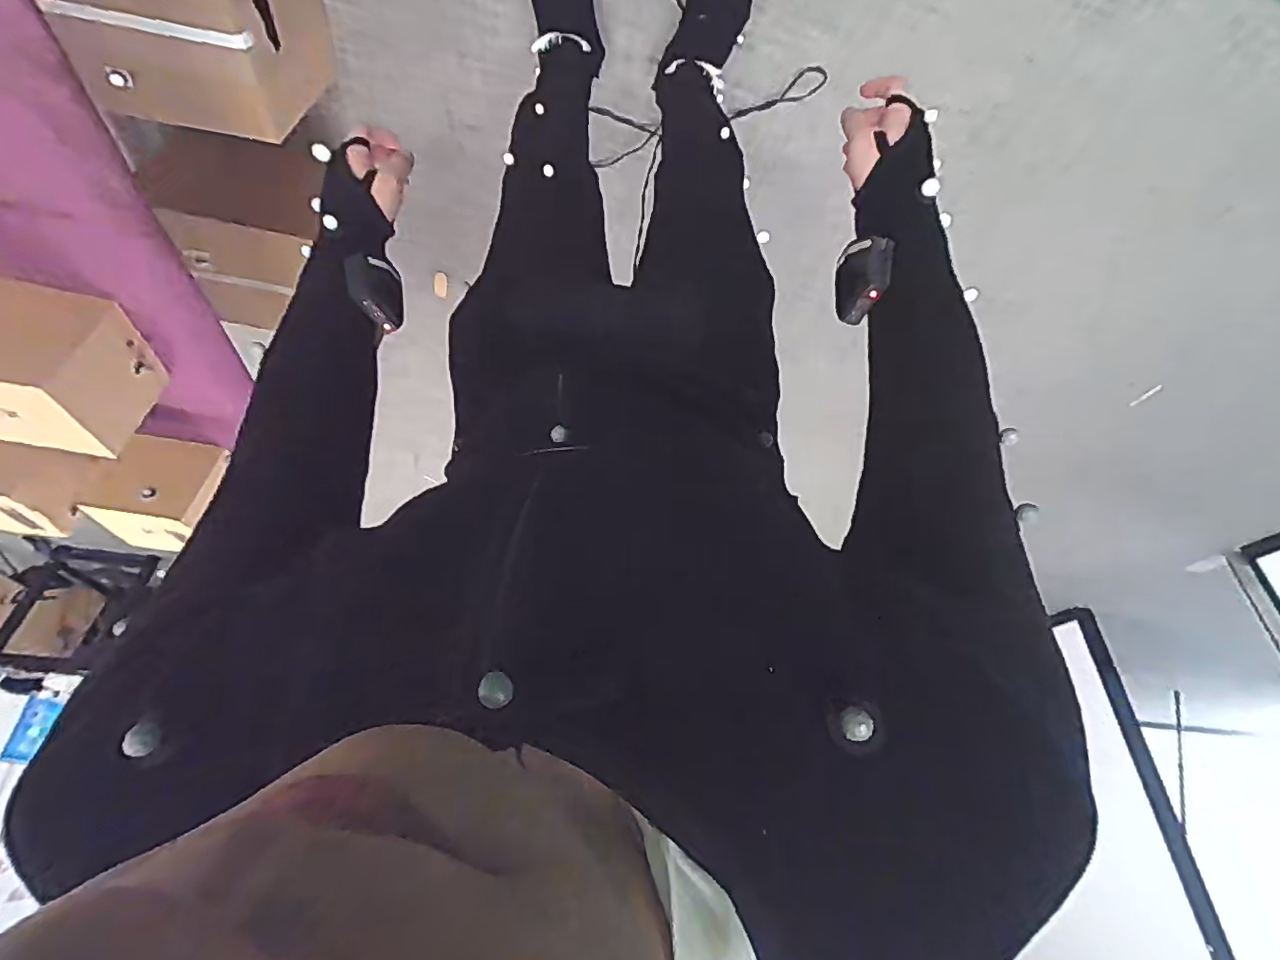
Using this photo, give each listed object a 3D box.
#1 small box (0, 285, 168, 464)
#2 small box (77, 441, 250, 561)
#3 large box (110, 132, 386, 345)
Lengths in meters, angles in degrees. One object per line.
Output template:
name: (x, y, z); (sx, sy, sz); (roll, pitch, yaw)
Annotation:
small box: (-0.841, -0.149, 0.767); (0.179, 0.176, 0.168); (11, 148, -9)
small box: (-0.914, 0.042, 1.067); (0.179, 0.176, 0.168); (10, 146, -6)
large box: (-0.903, -0.581, 1.326); (0.408, 0.320, 0.320); (10, 146, -7)
